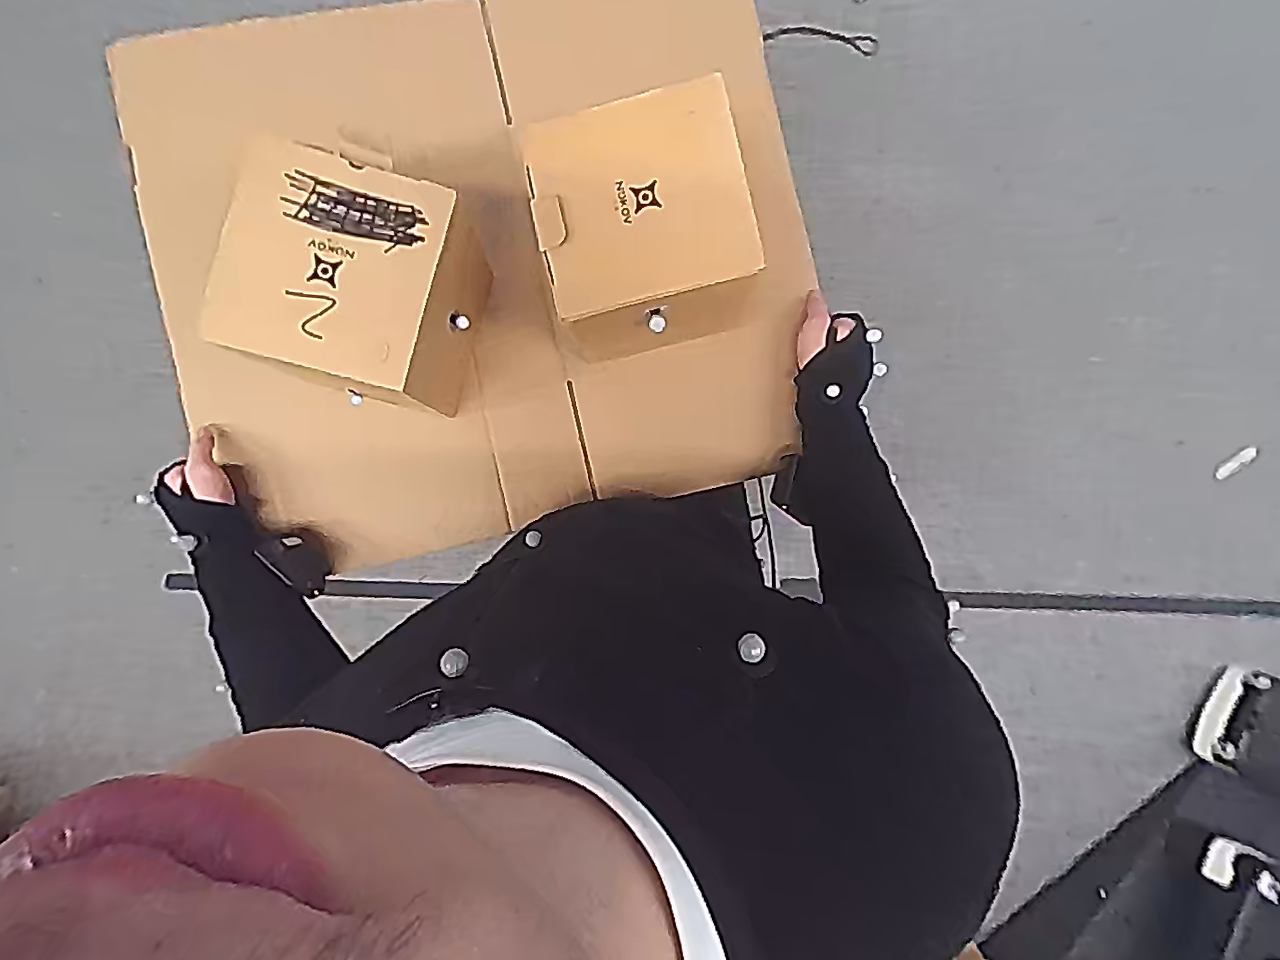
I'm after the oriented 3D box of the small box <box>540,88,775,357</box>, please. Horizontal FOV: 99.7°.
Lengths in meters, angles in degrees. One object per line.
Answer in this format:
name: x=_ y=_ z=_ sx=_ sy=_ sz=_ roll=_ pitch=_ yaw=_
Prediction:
small box: x=0.018 y=-0.233 z=0.536 sx=0.179 sy=0.176 sz=0.168 roll=-12 pitch=90 yaw=4
